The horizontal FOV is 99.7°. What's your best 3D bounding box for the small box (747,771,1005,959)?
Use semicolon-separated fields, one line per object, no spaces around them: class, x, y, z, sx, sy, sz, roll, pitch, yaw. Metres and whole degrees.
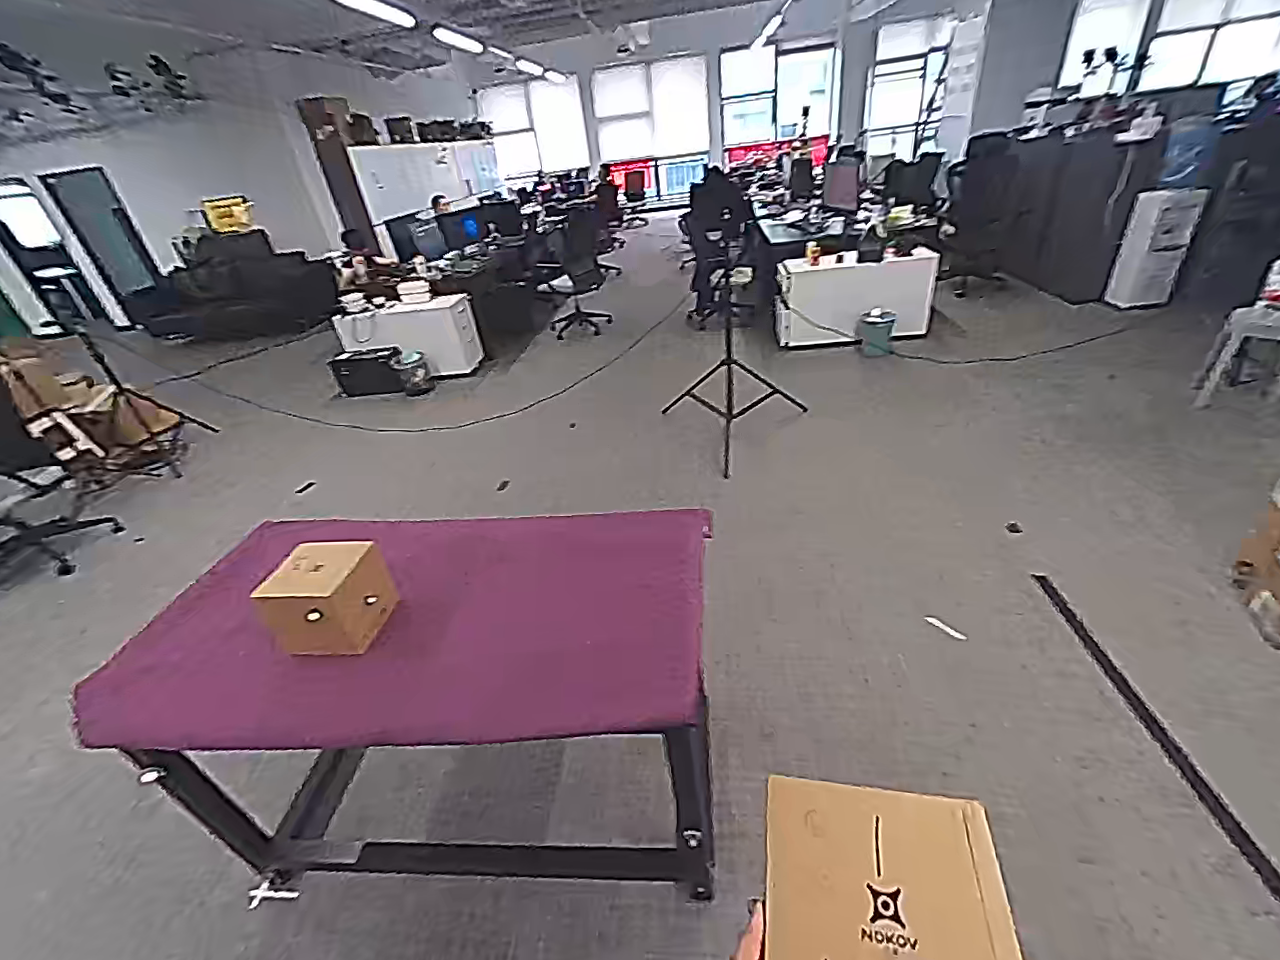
small box;0.173;0.365;0.428;0.168;0.176;0.179;0;40;14

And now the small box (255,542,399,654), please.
small box;-0.644;0.249;1.142;0.179;0.176;0.168;-3;32;9
